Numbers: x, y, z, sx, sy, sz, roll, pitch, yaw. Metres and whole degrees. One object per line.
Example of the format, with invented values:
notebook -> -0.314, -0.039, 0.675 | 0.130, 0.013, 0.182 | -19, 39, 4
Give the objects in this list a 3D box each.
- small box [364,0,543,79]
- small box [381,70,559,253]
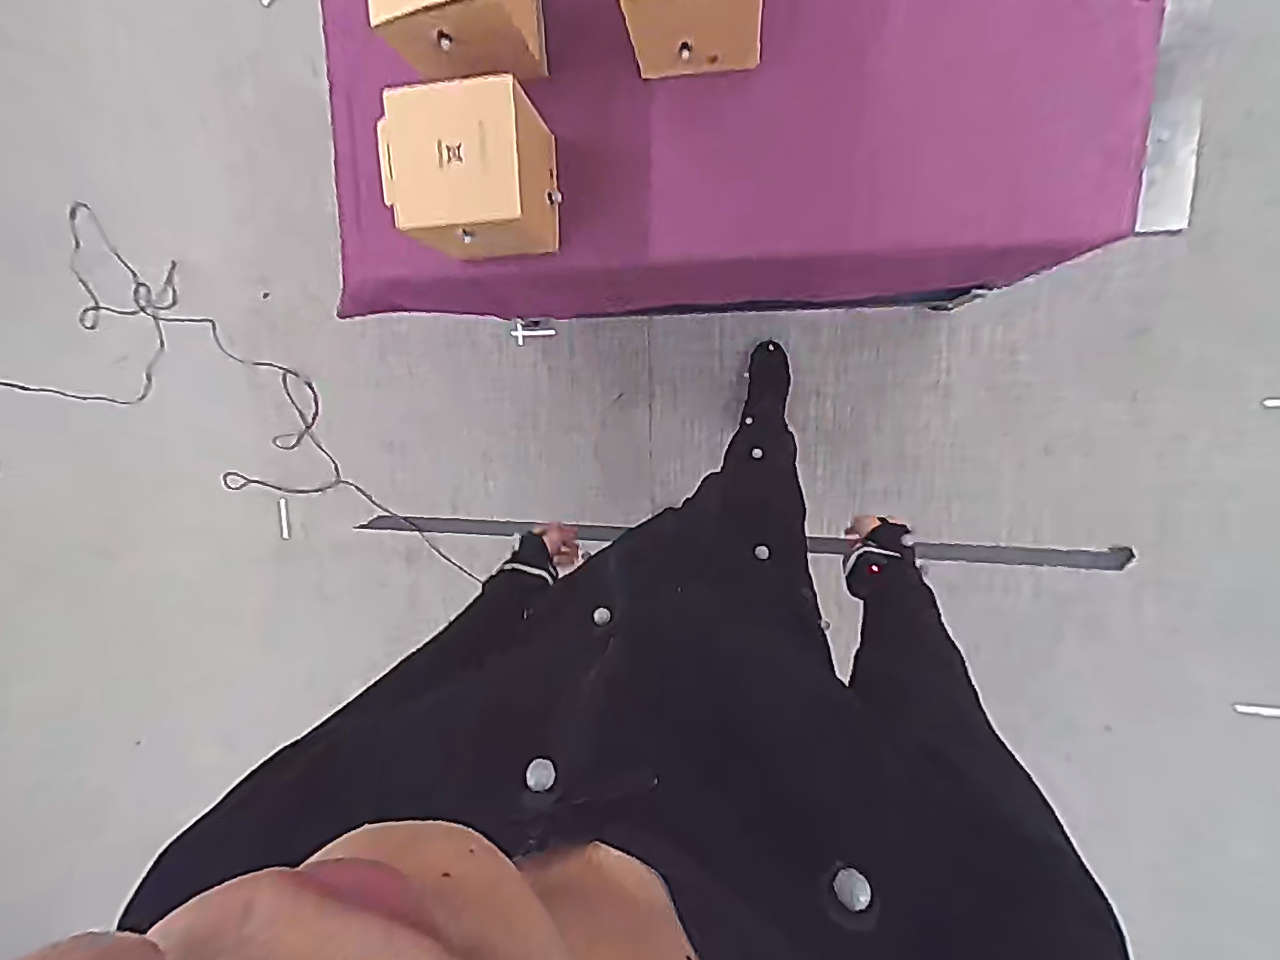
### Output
small box -> -0.243, -0.661, 0.714 | 0.179, 0.176, 0.168 | -2, 99, 9
small box -> -0.224, -0.423, 0.750 | 0.179, 0.176, 0.168 | 0, 99, 9
